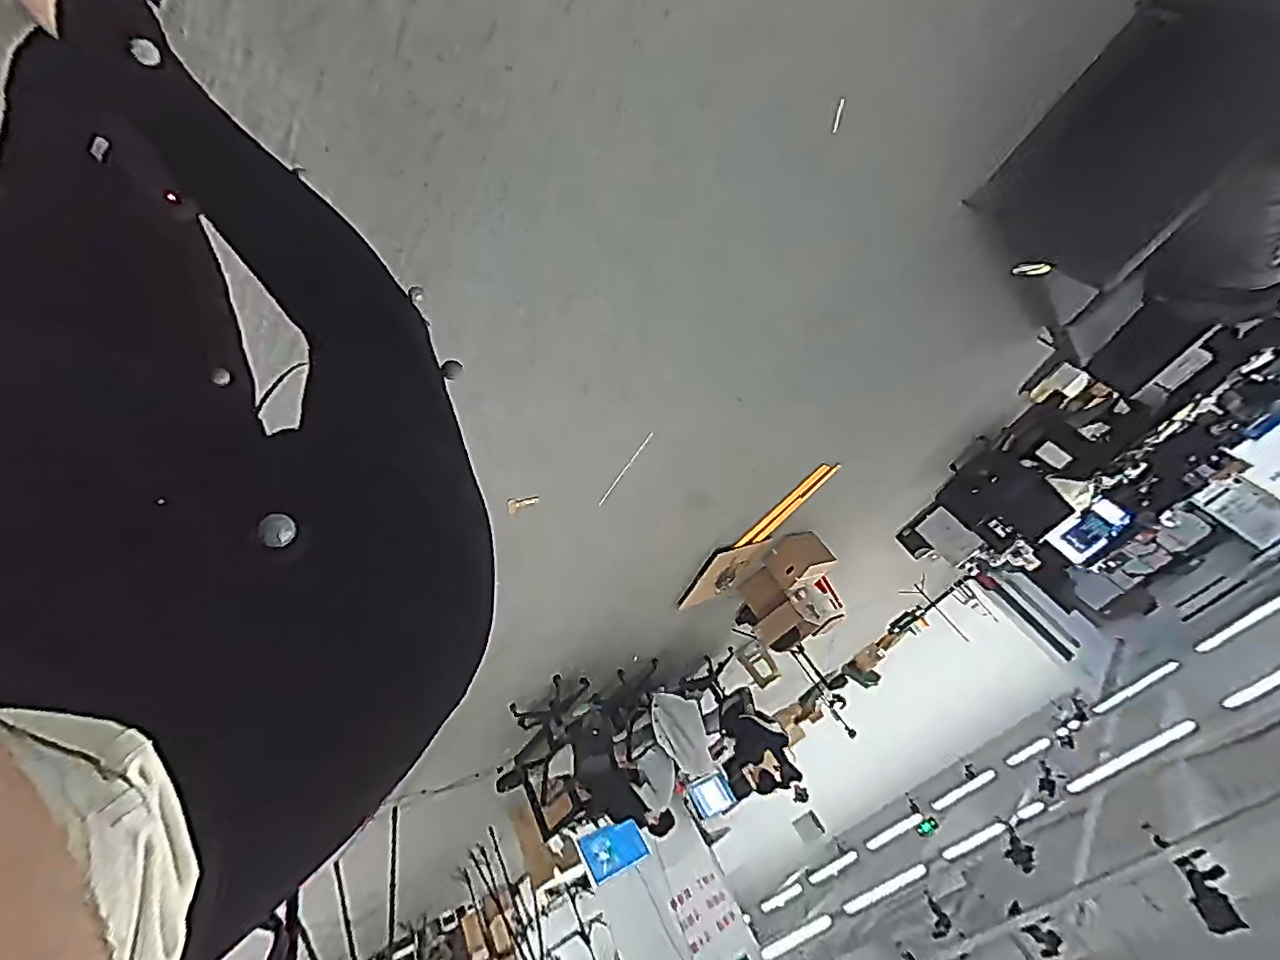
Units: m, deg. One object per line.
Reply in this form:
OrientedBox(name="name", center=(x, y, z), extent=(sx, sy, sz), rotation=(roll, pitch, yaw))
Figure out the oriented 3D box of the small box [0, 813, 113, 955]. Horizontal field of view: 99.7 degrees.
OrientedBox(name="small box", center=(-1.252, 0.858, 1.161), extent=(0.168, 0.176, 0.179), rotation=(2, 133, -45))
